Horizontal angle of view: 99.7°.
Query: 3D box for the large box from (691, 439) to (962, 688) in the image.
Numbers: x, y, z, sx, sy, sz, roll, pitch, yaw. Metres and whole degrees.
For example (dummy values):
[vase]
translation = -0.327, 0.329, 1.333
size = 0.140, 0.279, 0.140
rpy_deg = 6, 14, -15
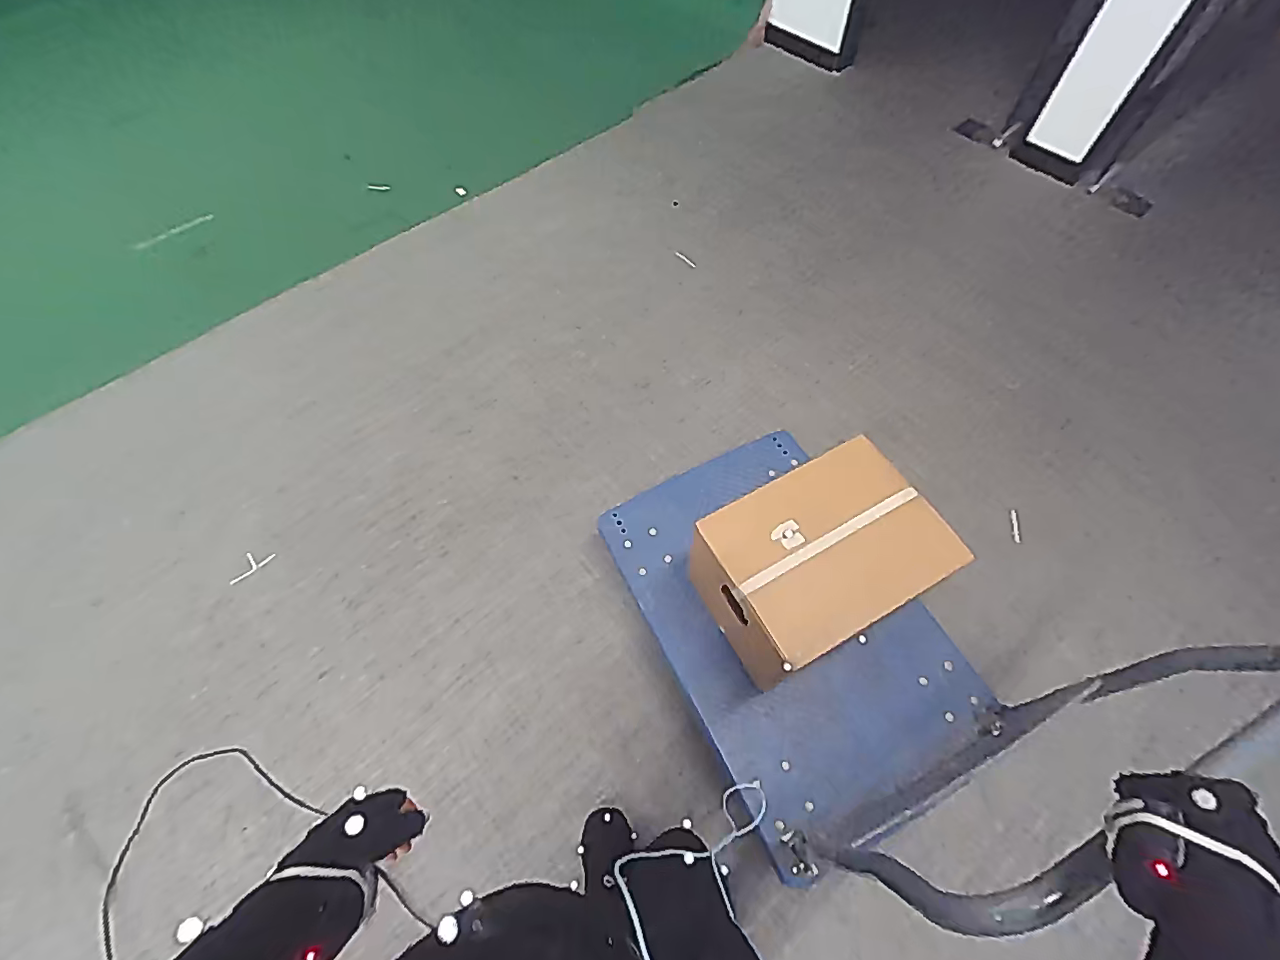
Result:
[large box]
translation = 0.356, 0.186, 1.142
size = 0.408, 0.320, 0.320
rpy_deg = -27, 64, -10
